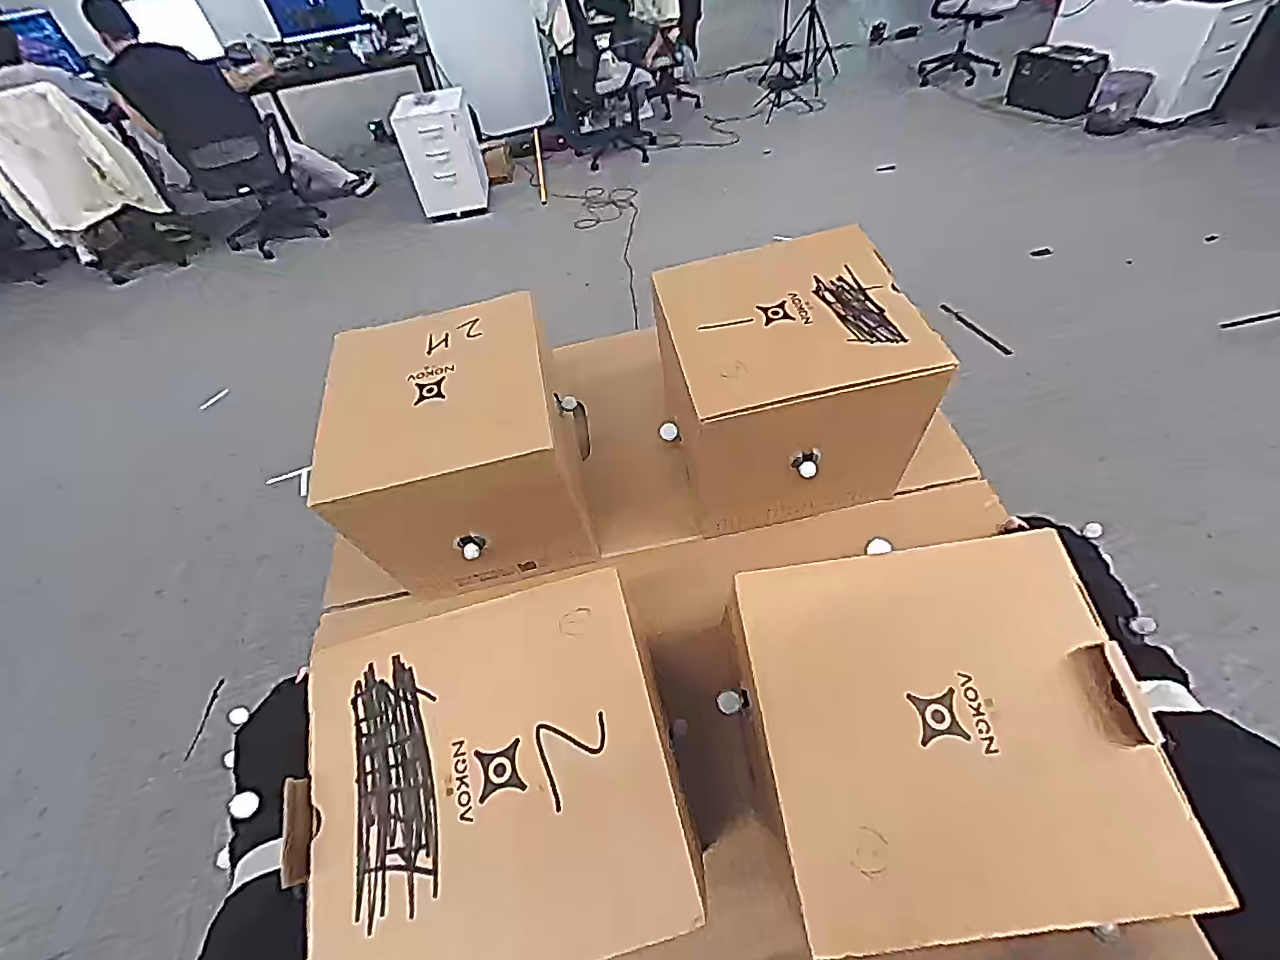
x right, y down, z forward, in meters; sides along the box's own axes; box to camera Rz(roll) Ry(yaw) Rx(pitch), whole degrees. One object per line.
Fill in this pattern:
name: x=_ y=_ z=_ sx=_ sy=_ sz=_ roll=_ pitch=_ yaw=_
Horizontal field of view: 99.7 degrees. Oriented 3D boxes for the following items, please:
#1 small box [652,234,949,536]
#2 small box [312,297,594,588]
small box: x=0.116 y=-0.072 z=0.463 sx=0.179 sy=0.176 sz=0.168 roll=-13 pitch=55 yaw=1
small box: x=-0.142 y=-0.021 z=0.467 sx=0.168 sy=0.176 sz=0.179 roll=-13 pitch=55 yaw=-1
